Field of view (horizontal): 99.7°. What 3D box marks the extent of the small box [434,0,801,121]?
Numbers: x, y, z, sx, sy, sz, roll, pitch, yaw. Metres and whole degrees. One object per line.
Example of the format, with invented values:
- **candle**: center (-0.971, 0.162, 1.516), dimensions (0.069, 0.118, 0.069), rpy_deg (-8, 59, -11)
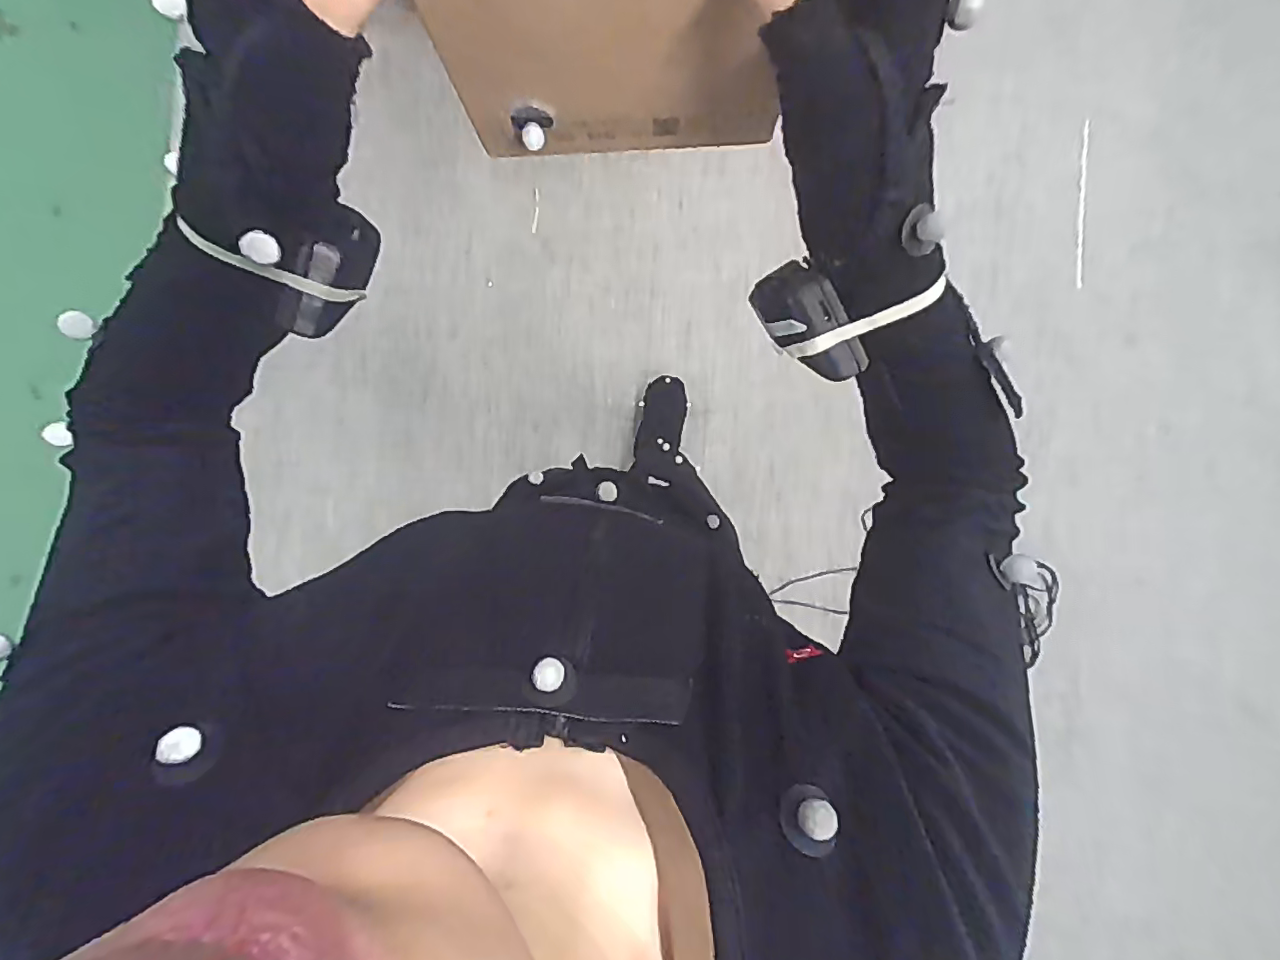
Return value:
- **small box**: center (-0.010, -0.287, 0.232), dimensions (0.168, 0.176, 0.179), rpy_deg (-2, 87, 1)
